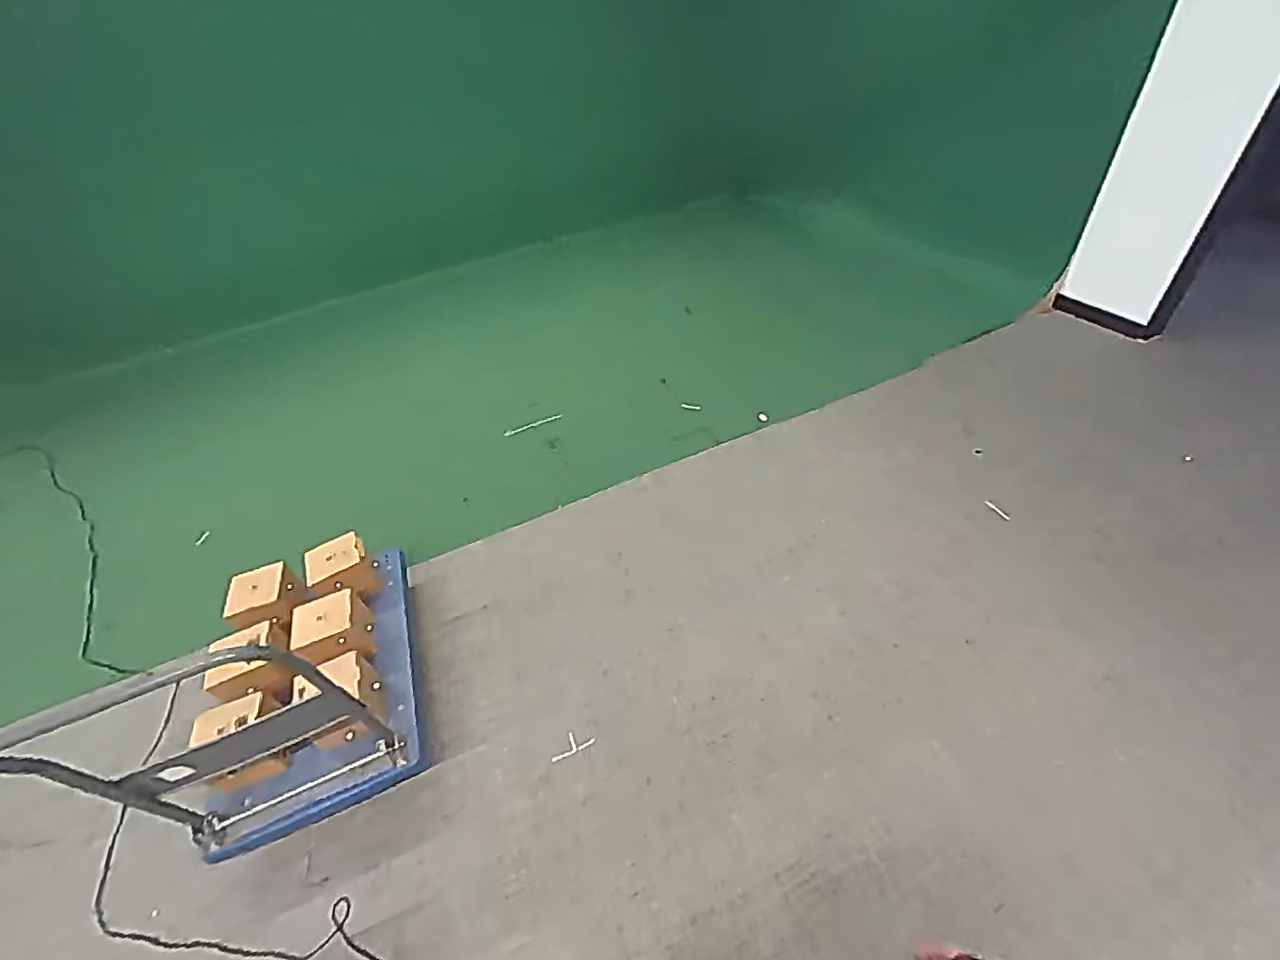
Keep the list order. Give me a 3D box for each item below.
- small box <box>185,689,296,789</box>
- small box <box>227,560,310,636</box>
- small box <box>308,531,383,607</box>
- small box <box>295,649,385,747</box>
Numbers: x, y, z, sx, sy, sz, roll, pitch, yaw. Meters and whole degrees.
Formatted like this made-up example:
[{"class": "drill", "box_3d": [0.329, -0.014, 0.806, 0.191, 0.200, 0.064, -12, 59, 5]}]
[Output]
[{"class": "small box", "box_3d": [-1.087, 0.716, 1.491, 0.179, 0.176, 0.168, -20, 44, -9]}, {"class": "small box", "box_3d": [-1.256, 0.409, 1.842, 0.168, 0.176, 0.179, -18, 44, -9]}, {"class": "small box", "box_3d": [-1.026, 0.316, 1.888, 0.179, 0.176, 0.168, -20, 47, -12]}, {"class": "small box", "box_3d": [-0.846, 0.622, 1.541, 0.179, 0.176, 0.168, -22, 45, -13]}]
